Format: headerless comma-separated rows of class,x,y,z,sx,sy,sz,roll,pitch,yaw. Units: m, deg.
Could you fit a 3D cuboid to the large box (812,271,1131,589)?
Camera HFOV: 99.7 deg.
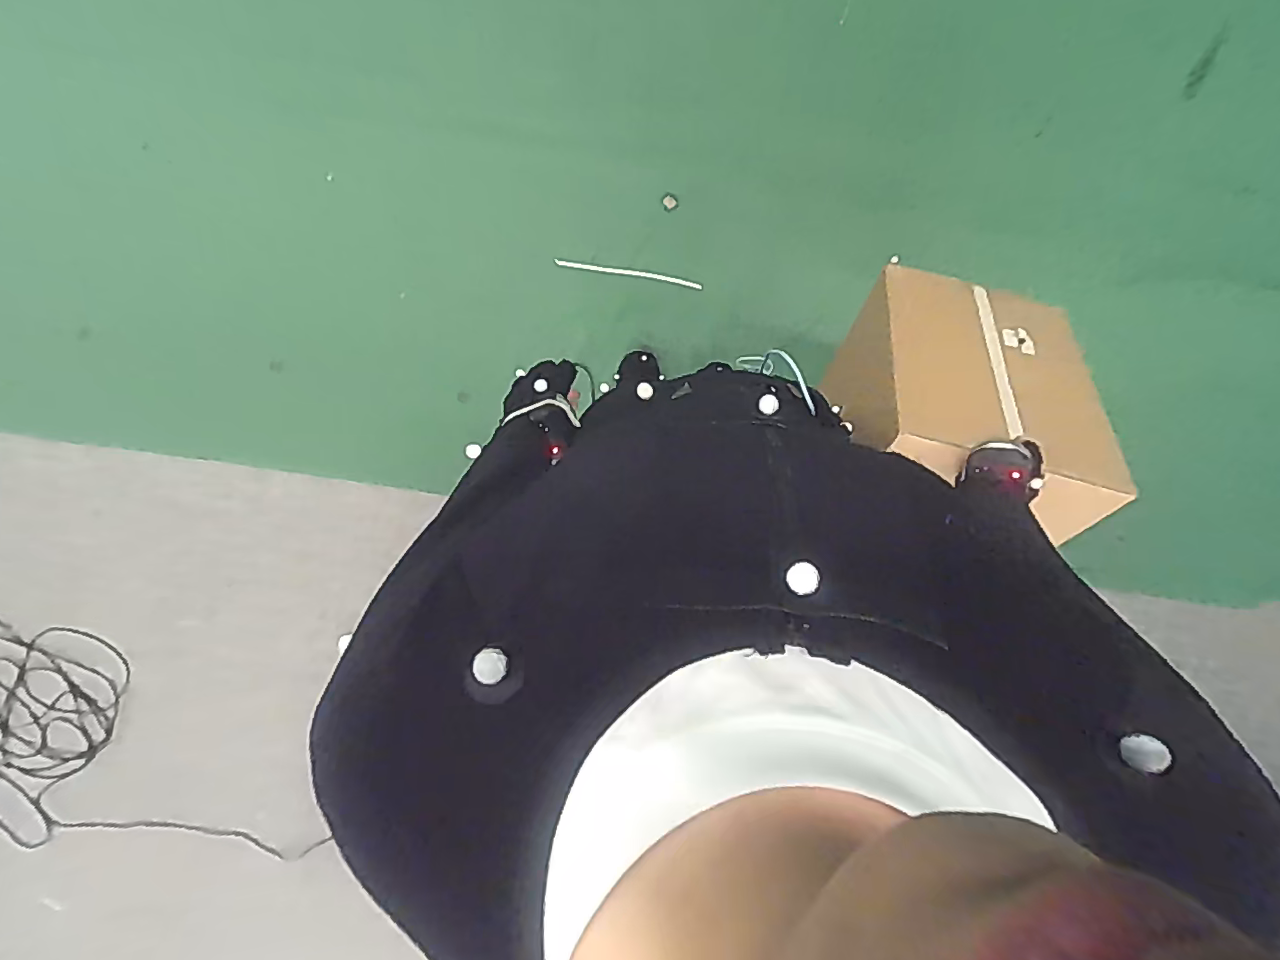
large box,0.501,-0.082,0.927,0.320,0.408,0.320,16,143,0
